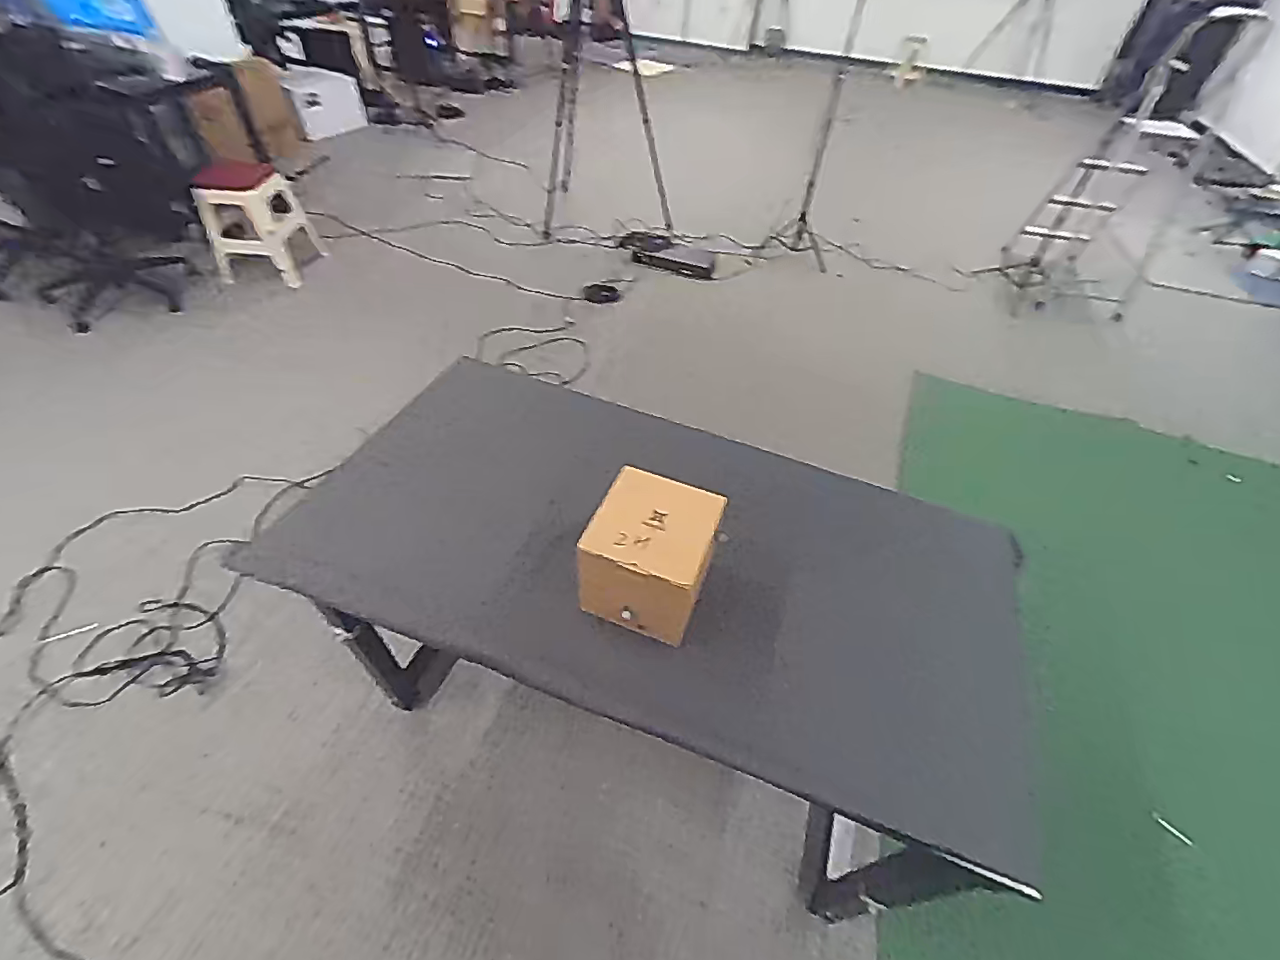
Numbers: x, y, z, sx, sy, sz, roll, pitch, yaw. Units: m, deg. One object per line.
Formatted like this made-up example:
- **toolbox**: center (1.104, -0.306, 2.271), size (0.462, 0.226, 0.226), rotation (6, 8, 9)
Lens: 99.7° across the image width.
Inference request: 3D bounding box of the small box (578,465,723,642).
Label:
- **small box**: center (0.013, 0.113, 0.826), size (0.168, 0.176, 0.179), rotation (18, 48, 12)
